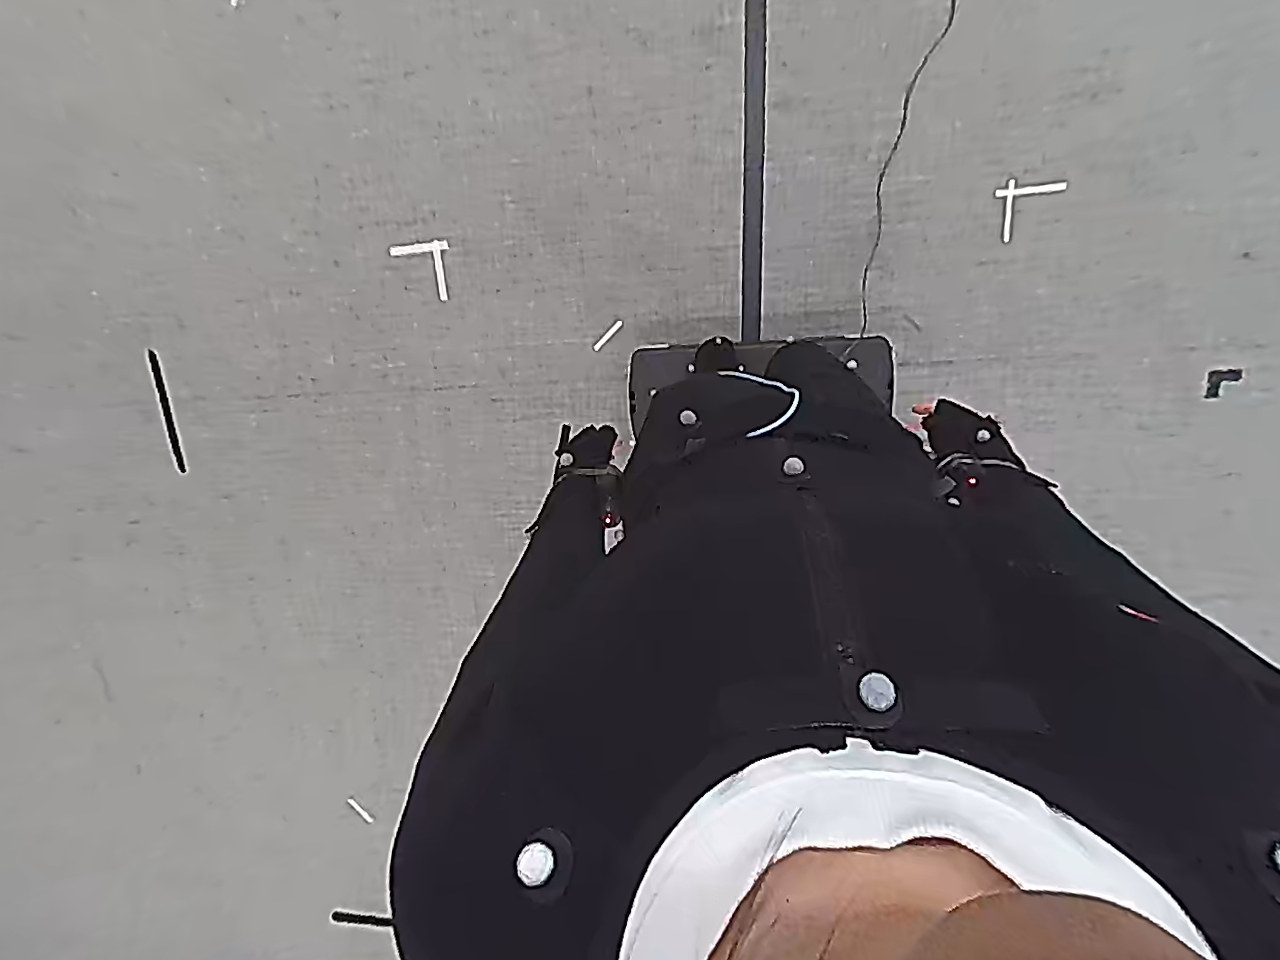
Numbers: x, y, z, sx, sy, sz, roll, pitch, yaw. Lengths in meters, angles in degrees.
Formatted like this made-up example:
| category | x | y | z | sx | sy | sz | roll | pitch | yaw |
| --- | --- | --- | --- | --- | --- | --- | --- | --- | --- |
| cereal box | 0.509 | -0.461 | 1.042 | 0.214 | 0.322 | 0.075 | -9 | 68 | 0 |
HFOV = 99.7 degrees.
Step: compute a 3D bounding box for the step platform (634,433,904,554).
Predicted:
| category | x | y | z | sx | sy | sz | roll | pitch | yaw |
| --- | --- | --- | --- | --- | --- | --- | --- | --- | --- |
| step platform | 0.325 | 0.039 | 1.439 | 0.684 | 0.204 | 0.286 | -2 | 102 | 9 |
